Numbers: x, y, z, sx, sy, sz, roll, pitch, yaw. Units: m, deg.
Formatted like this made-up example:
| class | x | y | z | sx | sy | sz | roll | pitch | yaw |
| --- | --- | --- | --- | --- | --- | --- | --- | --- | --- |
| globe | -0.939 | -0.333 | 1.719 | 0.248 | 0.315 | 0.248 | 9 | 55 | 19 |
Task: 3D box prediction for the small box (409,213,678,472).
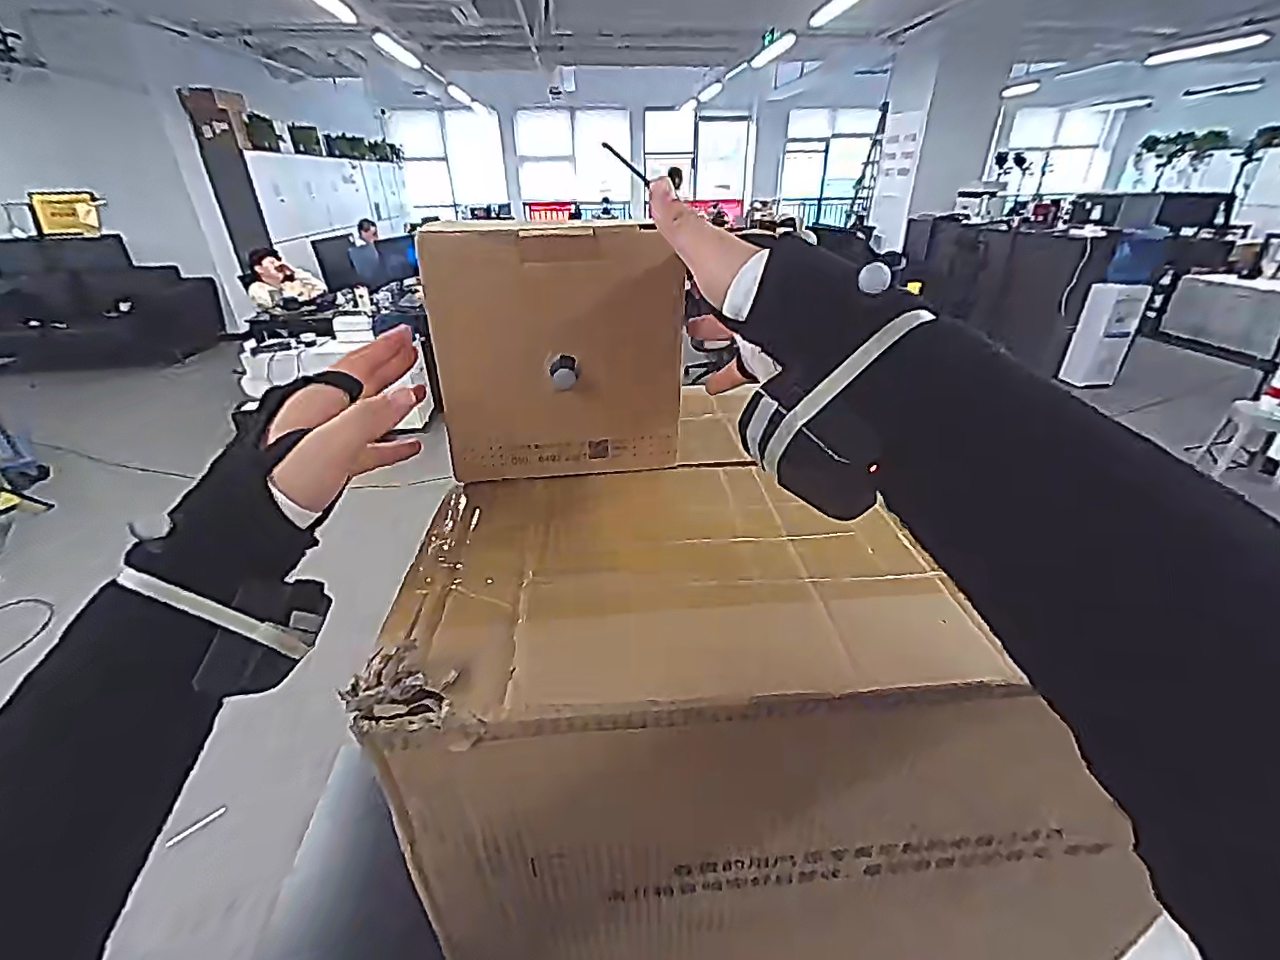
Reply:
| class | x | y | z | sx | sy | sz | roll | pitch | yaw |
| --- | --- | --- | --- | --- | --- | --- | --- | --- | --- |
| small box | -0.065 | -0.113 | 0.431 | 0.168 | 0.176 | 0.179 | -5 | 28 | -8 |
